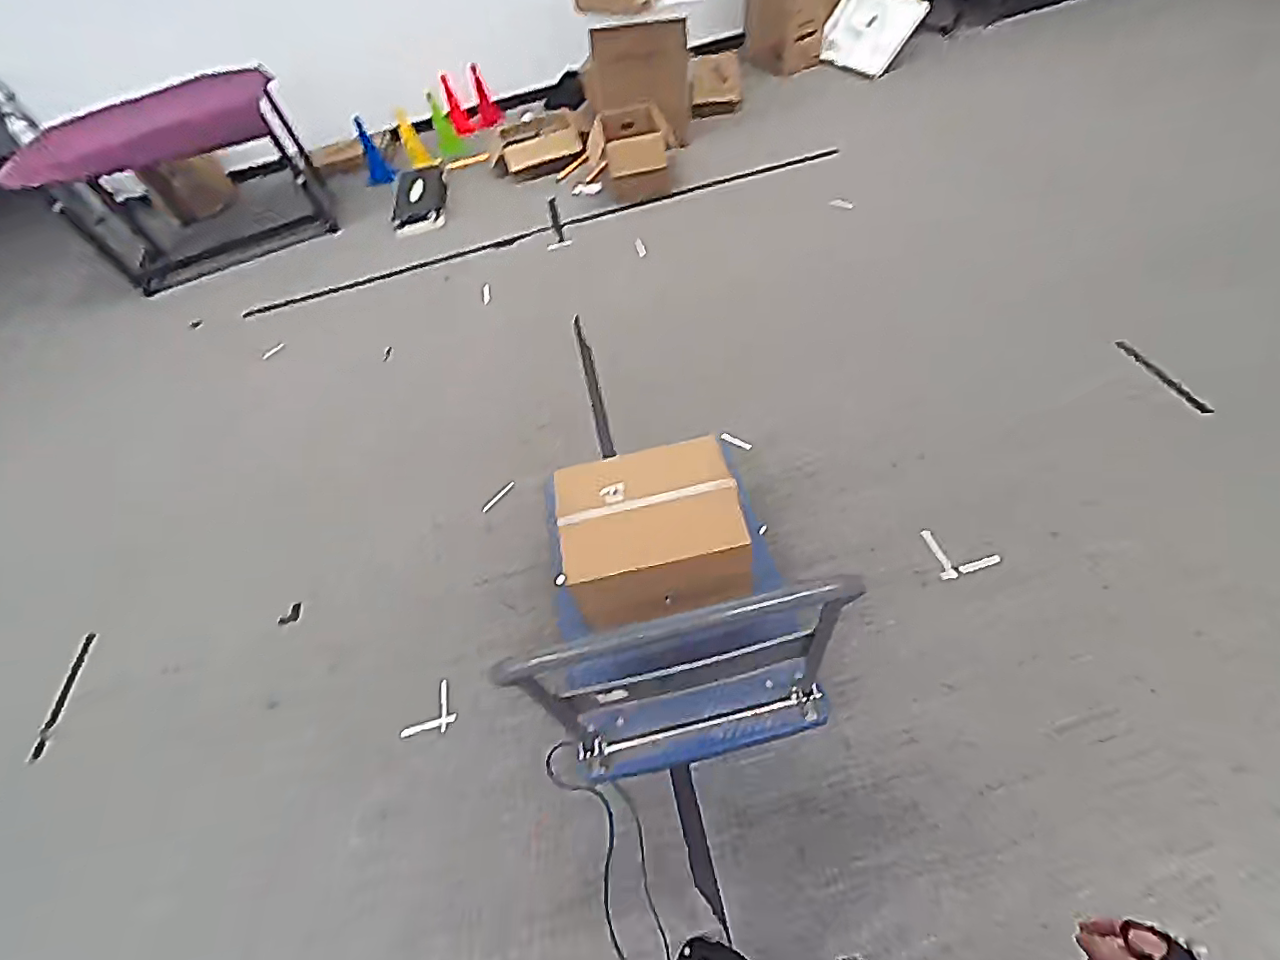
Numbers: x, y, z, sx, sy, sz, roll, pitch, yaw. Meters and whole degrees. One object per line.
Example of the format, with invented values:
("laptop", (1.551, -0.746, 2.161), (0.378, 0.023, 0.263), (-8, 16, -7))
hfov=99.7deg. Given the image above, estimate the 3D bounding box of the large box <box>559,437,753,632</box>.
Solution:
("large box", (0.045, 0.144, 1.353), (0.408, 0.320, 0.320), (-13, 52, 2))
